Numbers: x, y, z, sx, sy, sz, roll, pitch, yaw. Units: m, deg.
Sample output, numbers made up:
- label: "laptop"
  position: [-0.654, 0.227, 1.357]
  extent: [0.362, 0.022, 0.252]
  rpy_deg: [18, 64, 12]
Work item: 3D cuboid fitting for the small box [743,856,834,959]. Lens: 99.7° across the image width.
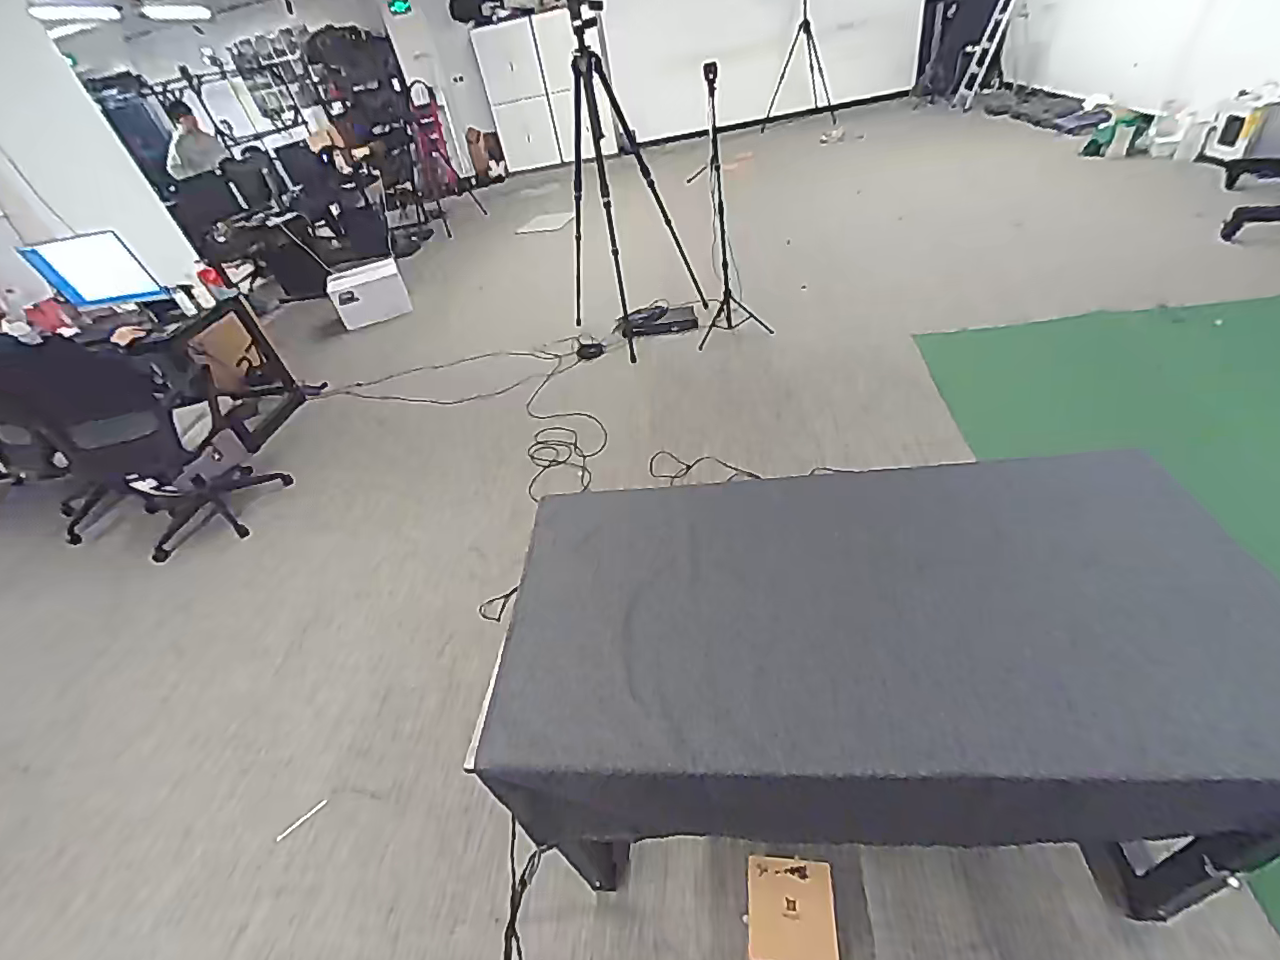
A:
- label: "small box"
  position: [0.299, 0.897, 1.093]
  extent: [0.168, 0.176, 0.179]
  rpy_deg: [-2, 40, 13]
